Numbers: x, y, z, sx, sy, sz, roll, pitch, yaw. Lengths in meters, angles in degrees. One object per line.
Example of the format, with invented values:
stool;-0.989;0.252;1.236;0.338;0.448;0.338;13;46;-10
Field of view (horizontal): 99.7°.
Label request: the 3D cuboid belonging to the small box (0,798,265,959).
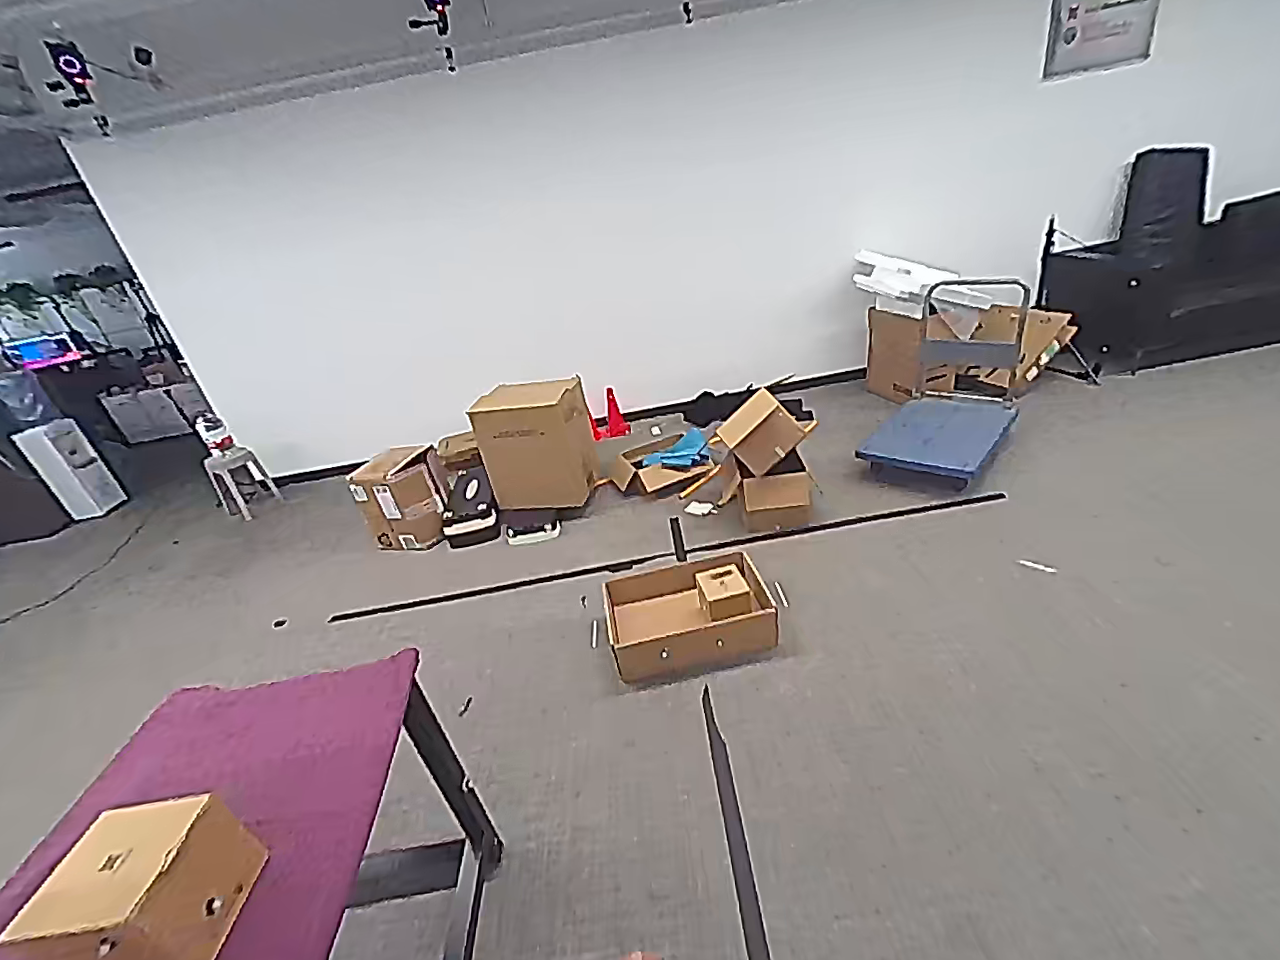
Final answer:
small box;-0.694;0.593;0.767;0.179;0.176;0.168;-11;27;2
